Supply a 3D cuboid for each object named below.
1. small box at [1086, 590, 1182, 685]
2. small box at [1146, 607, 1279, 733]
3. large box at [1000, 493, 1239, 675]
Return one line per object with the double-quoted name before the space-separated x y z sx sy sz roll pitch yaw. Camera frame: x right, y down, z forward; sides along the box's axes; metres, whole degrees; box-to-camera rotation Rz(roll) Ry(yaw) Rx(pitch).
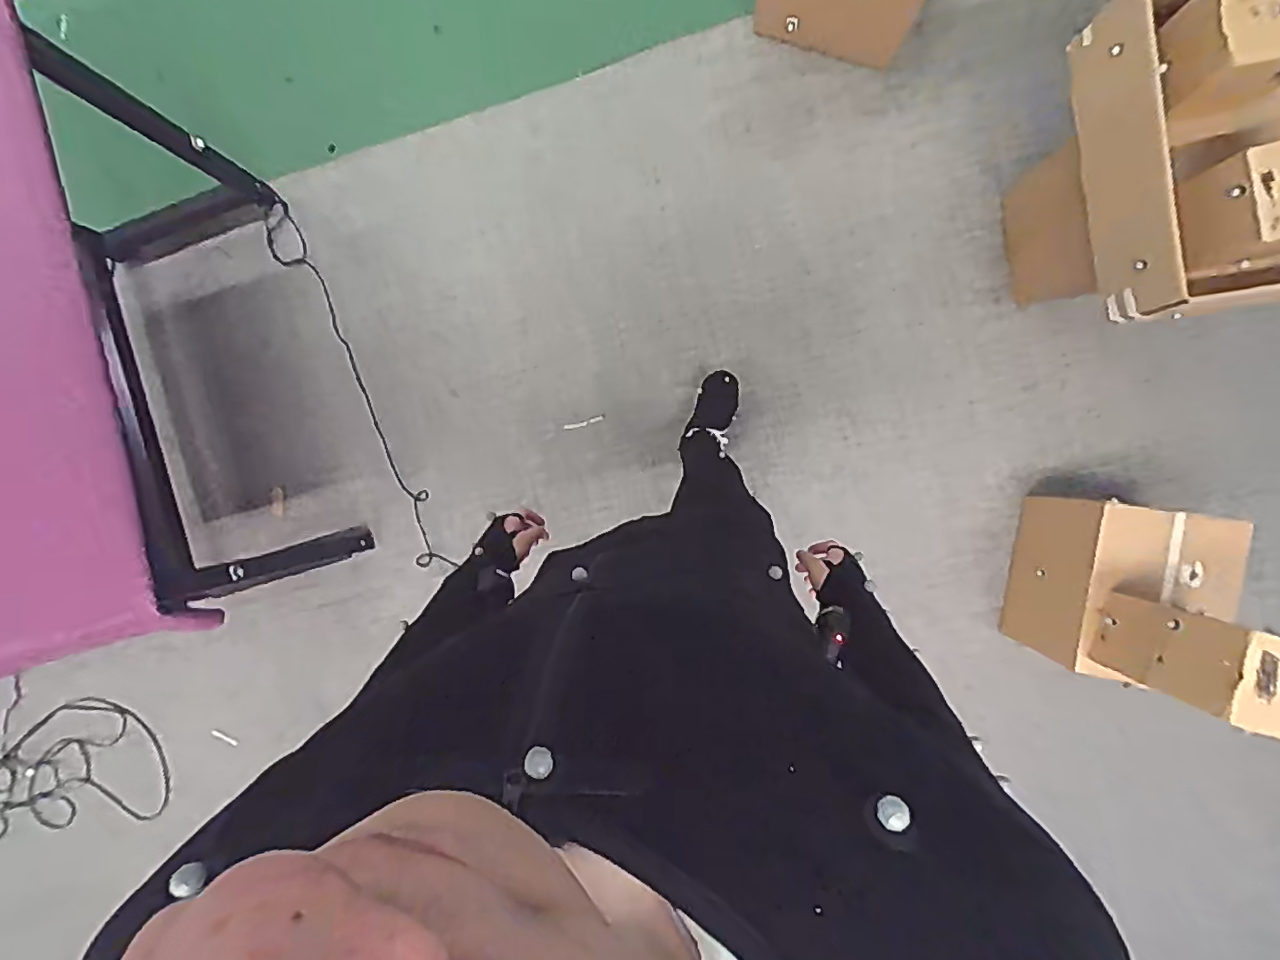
"small box" 1.111 0.344 1.144 0.179 0.176 0.168 15 92 6
"small box" 1.089 0.343 0.981 0.179 0.176 0.168 15 92 5
"large box" 1.185 0.255 1.380 0.320 0.320 0.408 8 92 4
